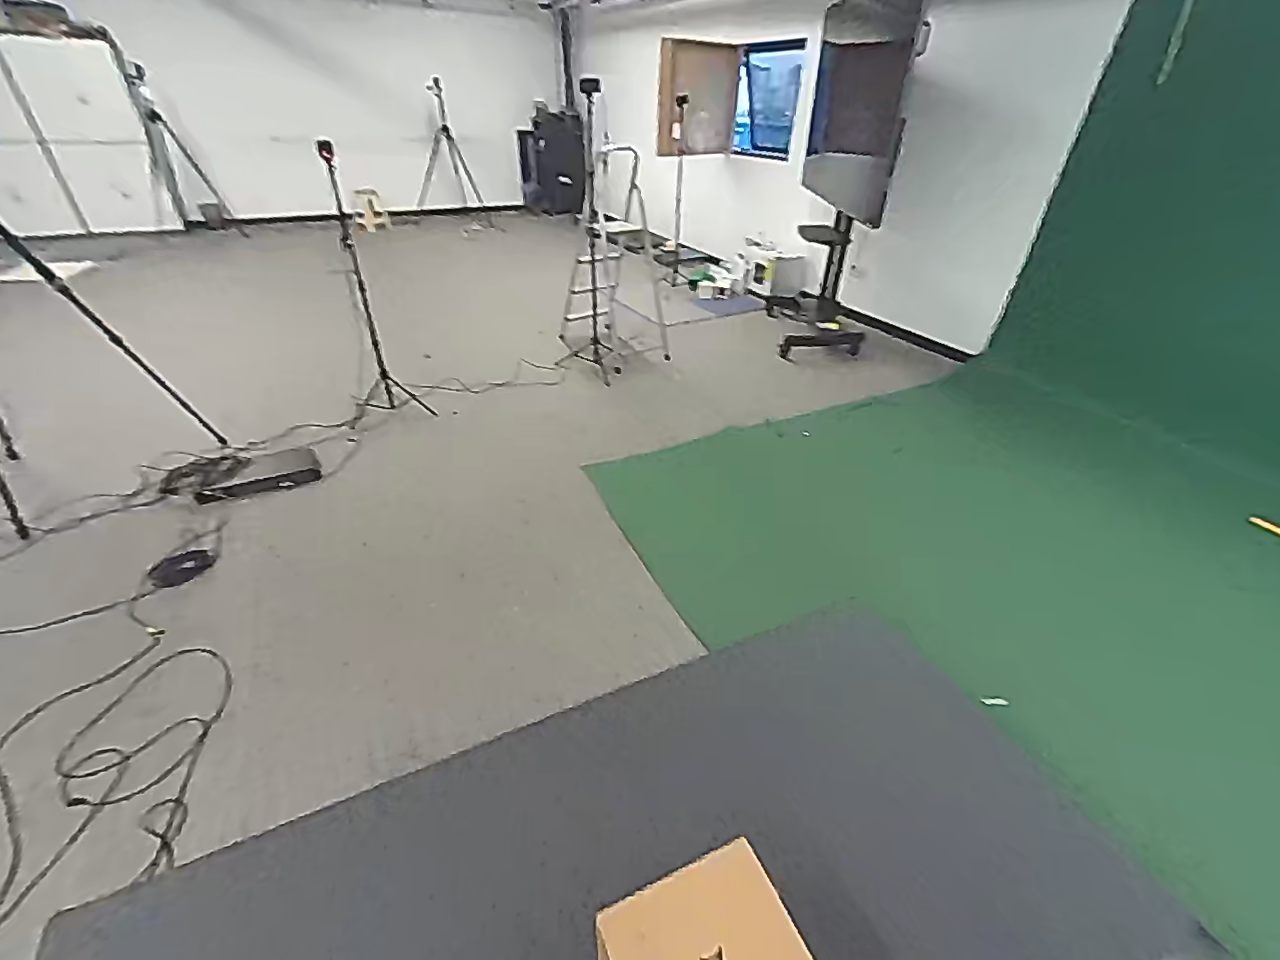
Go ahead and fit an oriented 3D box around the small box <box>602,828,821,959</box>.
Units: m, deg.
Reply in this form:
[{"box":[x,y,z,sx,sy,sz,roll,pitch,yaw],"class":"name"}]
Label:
[{"box":[0.069,0.485,0.512,0.168,0.176,0.179,-14,38,-20],"class":"small box"}]
